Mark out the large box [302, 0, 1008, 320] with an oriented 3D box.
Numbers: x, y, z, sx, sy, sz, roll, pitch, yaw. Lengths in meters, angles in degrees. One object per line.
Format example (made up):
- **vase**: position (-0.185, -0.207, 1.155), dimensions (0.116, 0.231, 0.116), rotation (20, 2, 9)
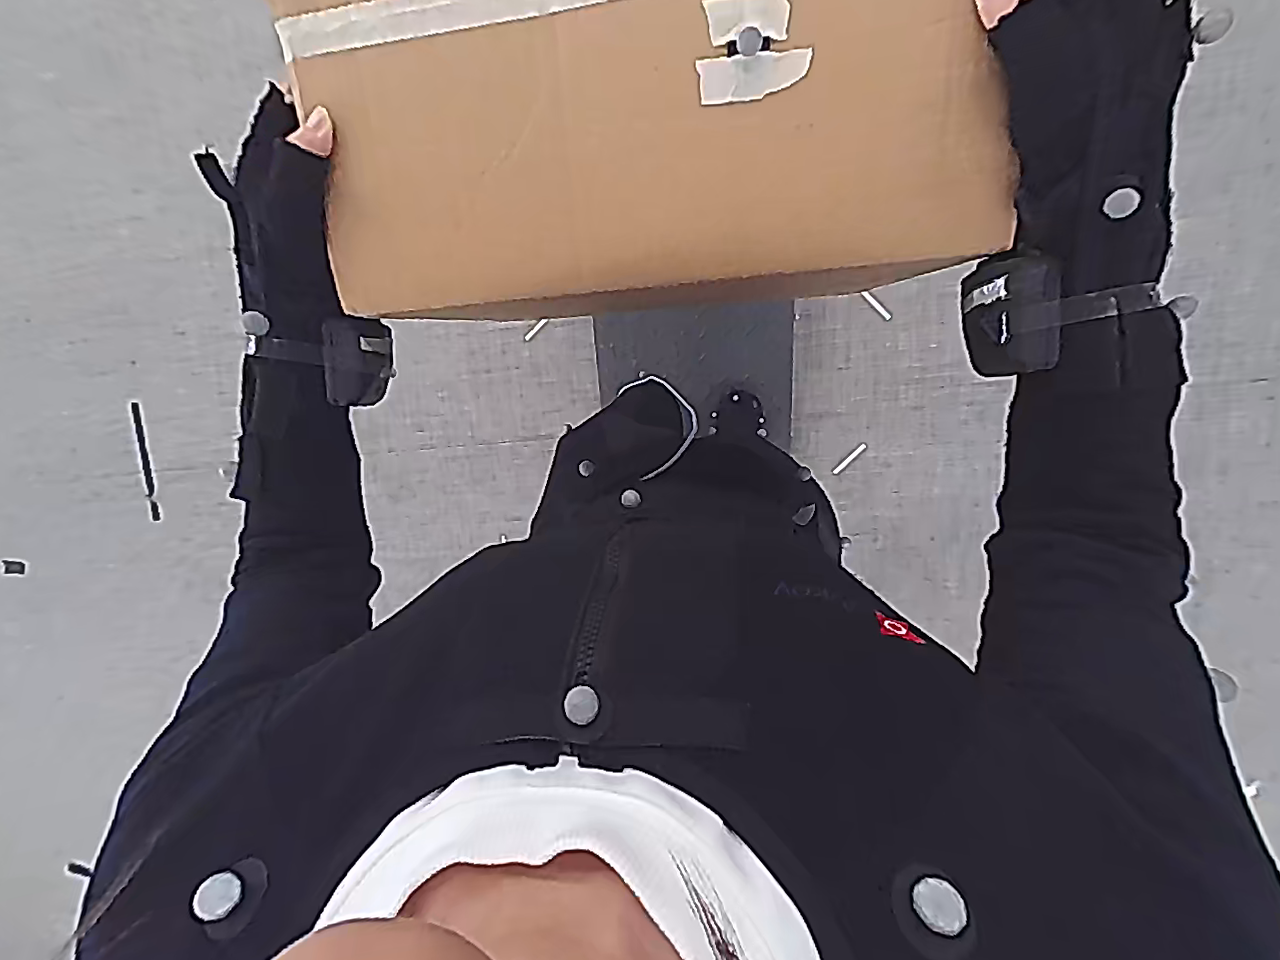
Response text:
- **large box**: position (0.012, -0.315, 0.444), dimensions (0.408, 0.320, 0.320), rotation (-3, 106, 9)
